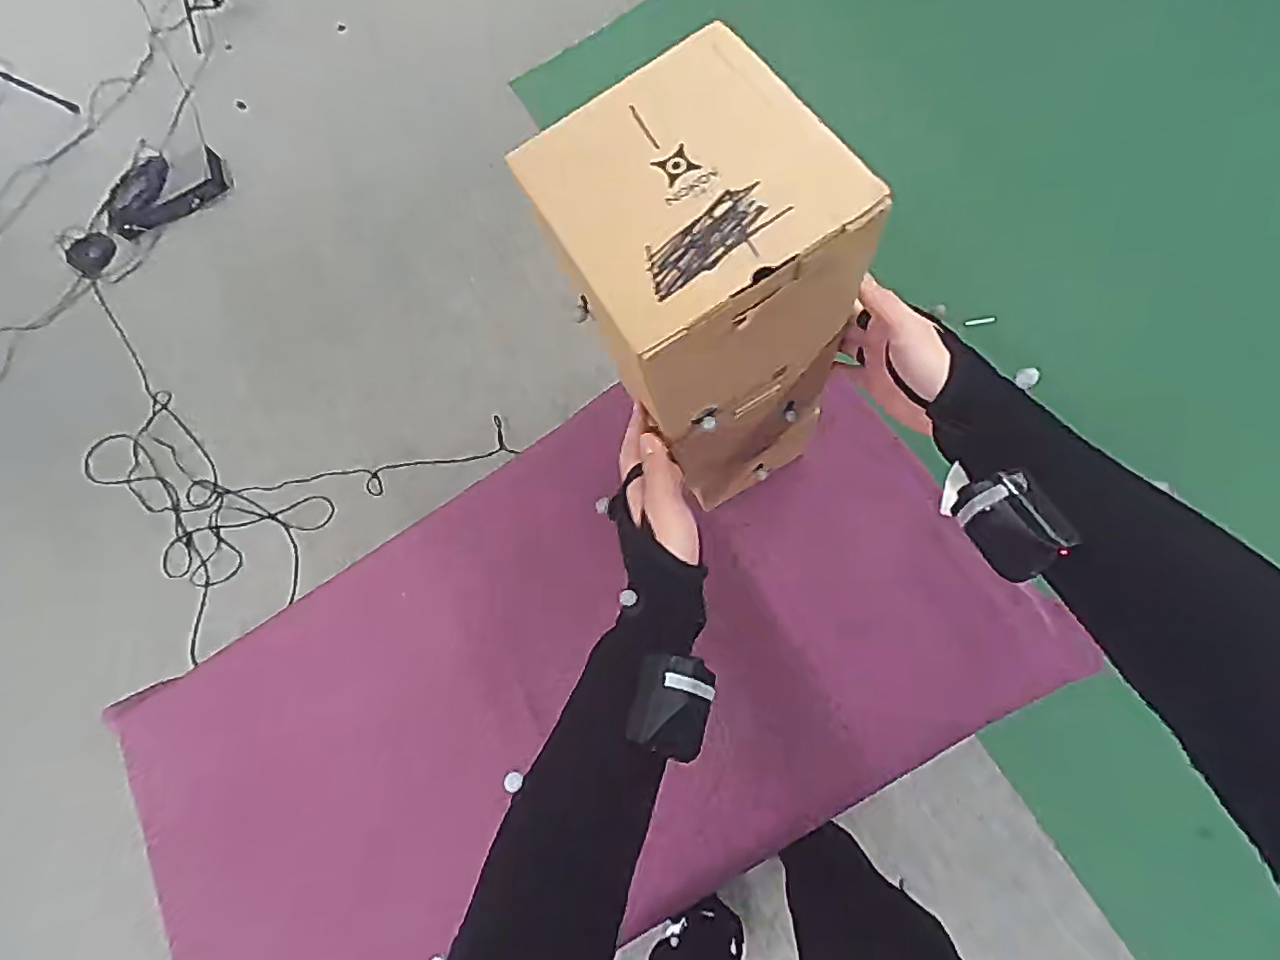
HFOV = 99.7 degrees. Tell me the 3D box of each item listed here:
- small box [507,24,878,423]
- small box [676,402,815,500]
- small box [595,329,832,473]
[{"bbox_3d":[0.037,-0.161,0.400,0.168,0.176,0.179,-32,72,1],"label":"small box"},{"bbox_3d":[0.104,-0.088,0.712,0.168,0.176,0.179,-32,73,2],"label":"small box"},{"bbox_3d":[0.069,-0.122,0.556,0.168,0.176,0.179,-31,72,2],"label":"small box"}]
